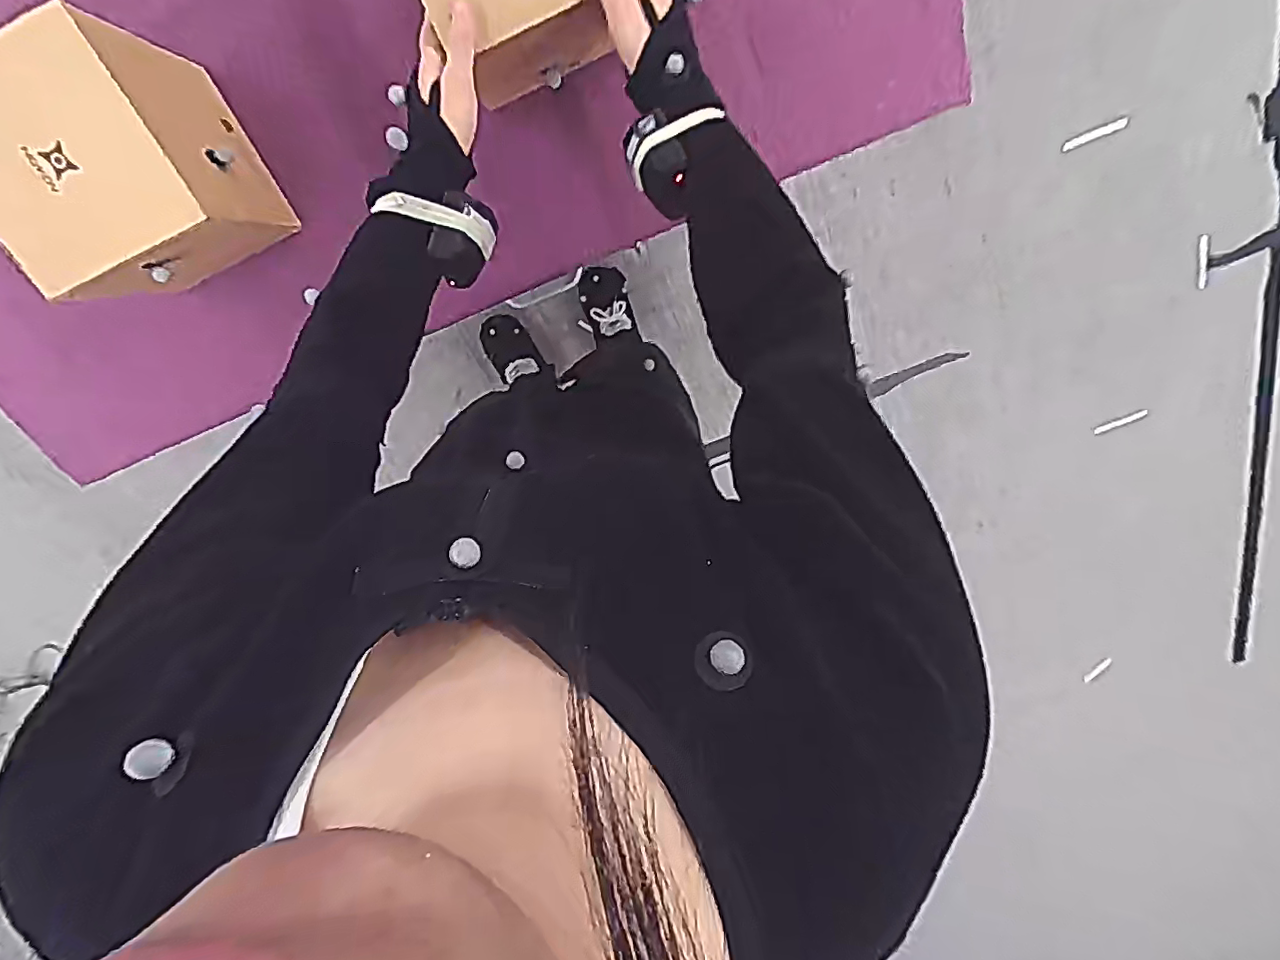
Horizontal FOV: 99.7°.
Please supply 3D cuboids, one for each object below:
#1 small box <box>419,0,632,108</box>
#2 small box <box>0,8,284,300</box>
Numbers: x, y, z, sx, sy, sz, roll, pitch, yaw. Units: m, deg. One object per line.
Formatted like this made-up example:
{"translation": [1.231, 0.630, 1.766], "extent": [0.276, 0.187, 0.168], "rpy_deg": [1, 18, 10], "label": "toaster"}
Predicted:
{"translation": [-0.117, -0.467, 0.472], "extent": [0.168, 0.176, 0.179], "rpy_deg": [-21, 114, 6], "label": "small box"}
{"translation": [-0.489, -0.293, 0.521], "extent": [0.179, 0.176, 0.168], "rpy_deg": [-22, 113, 6], "label": "small box"}
